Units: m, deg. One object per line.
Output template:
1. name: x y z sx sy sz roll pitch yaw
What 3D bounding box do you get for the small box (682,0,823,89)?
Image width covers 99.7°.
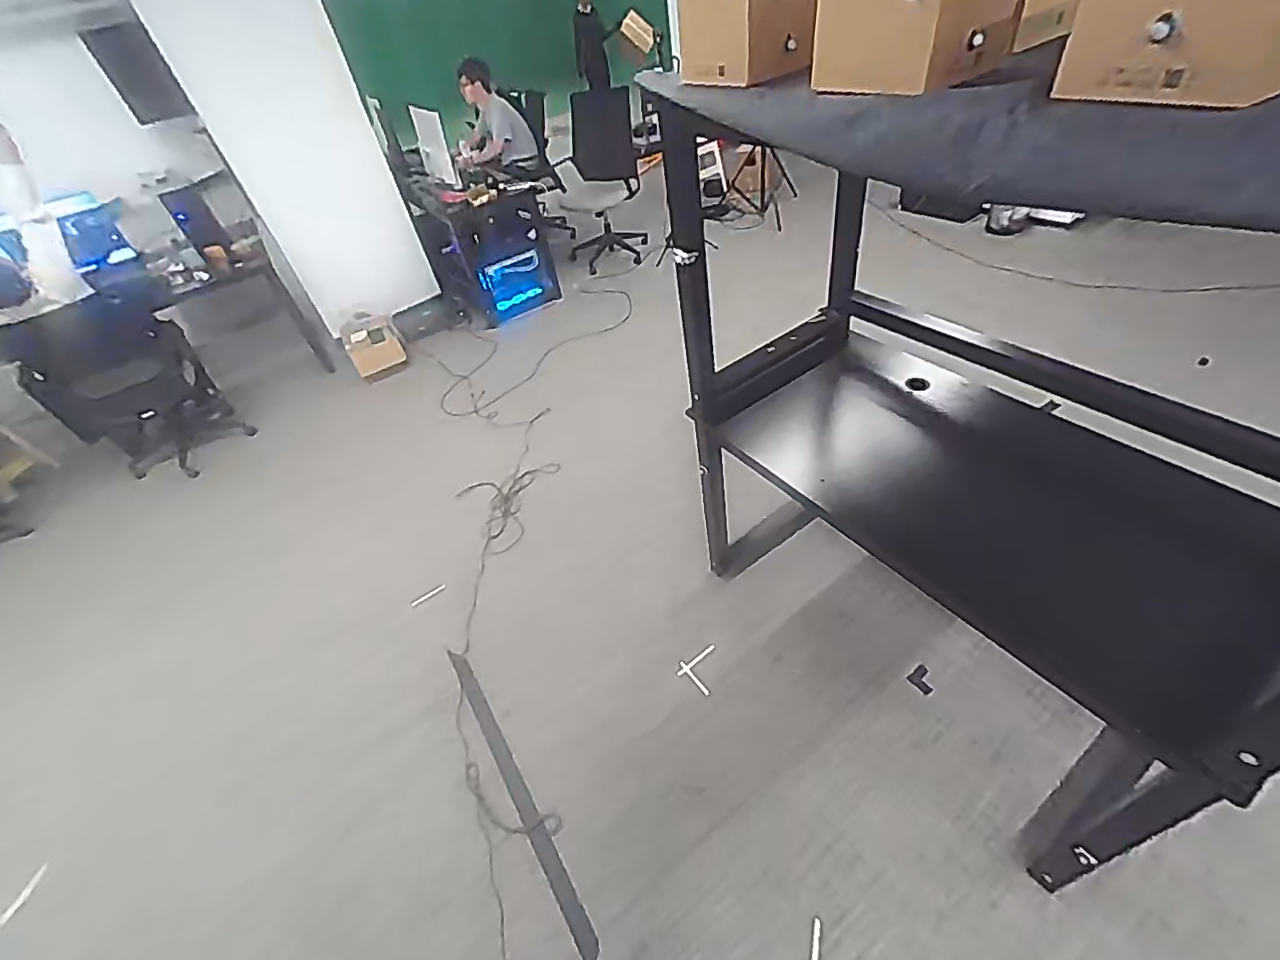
1. small box: 0.178 -0.759 0.876 0.179 0.176 0.168 -32 48 -21

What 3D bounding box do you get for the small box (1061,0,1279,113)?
1. small box: 0.533 -0.453 0.485 0.179 0.176 0.168 -27 45 -17

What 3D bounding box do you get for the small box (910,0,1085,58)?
1. small box: 0.524 -0.728 0.774 0.168 0.176 0.179 -30 46 -18
